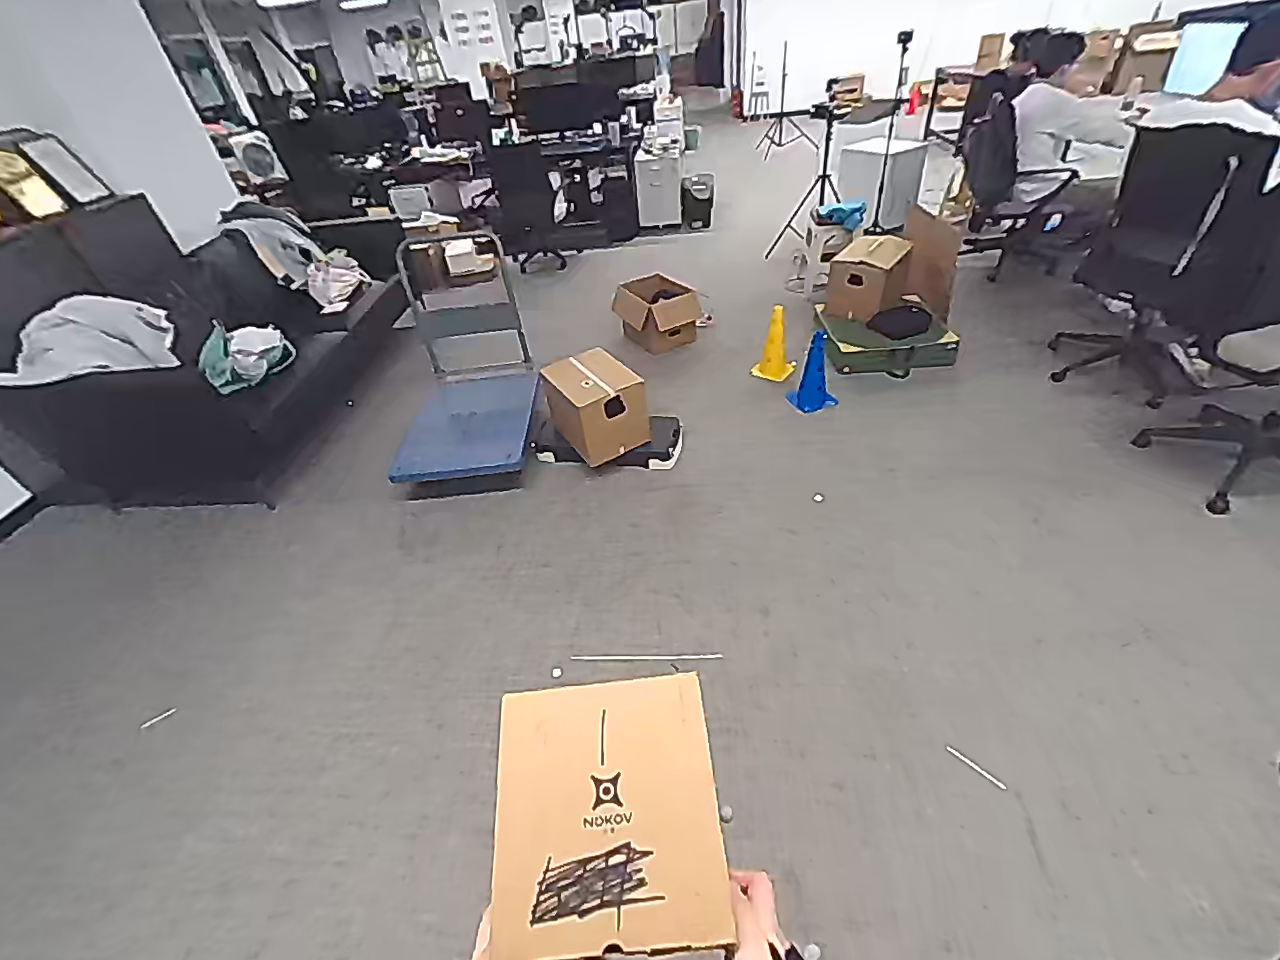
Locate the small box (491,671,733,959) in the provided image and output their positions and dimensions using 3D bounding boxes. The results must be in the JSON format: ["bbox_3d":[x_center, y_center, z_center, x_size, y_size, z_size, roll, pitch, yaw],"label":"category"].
[{"bbox_3d":[-0.018,0.280,0.464,0.168,0.176,0.179,-6,56,0],"label":"small box"}]
